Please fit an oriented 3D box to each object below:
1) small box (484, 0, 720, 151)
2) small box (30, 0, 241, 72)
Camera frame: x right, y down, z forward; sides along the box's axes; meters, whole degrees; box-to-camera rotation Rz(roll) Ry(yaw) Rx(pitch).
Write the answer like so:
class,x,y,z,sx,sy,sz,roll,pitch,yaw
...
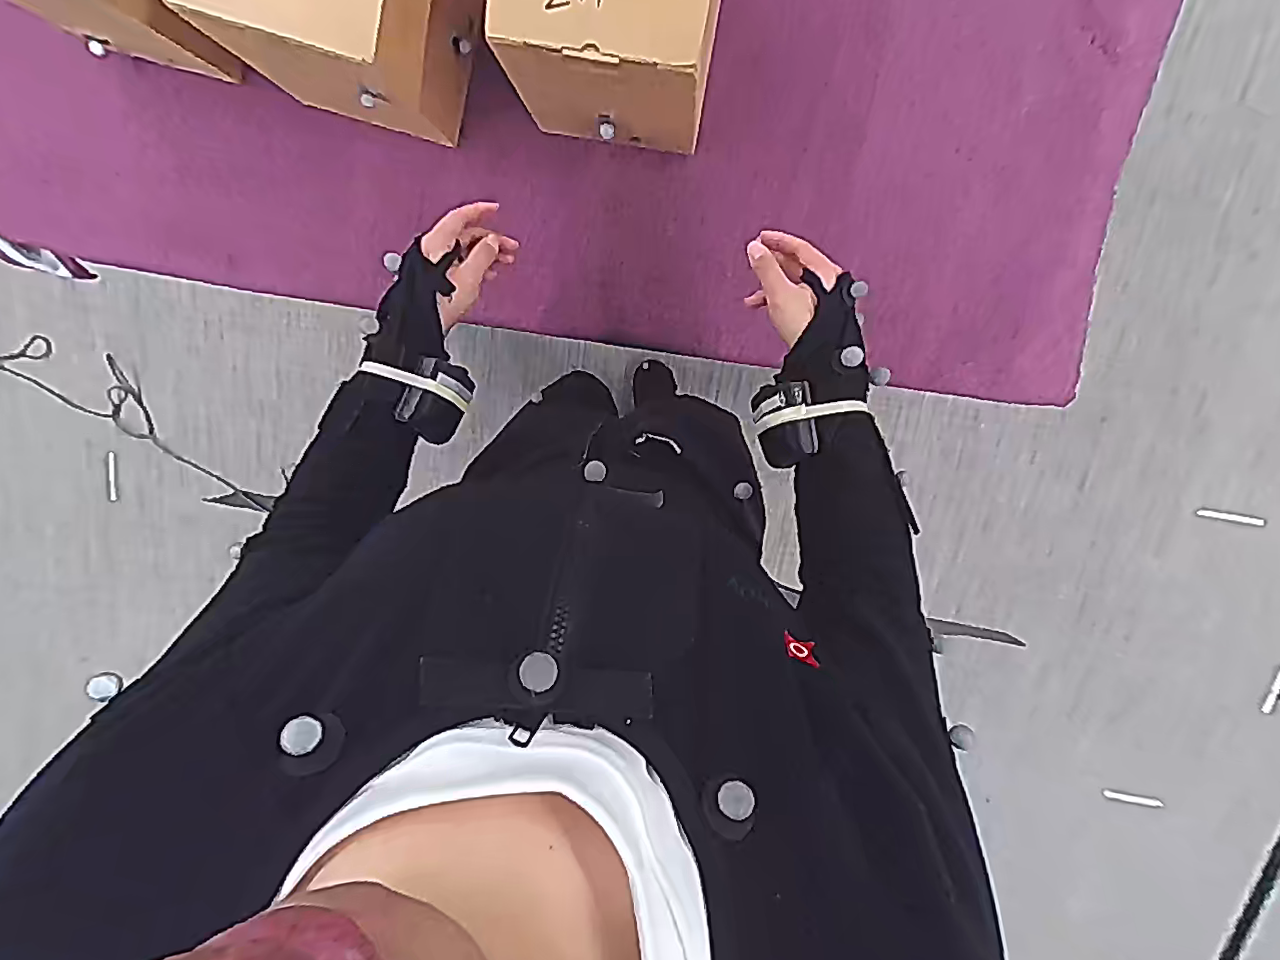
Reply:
class,x,y,z,sx,sy,sz,roll,pitch,yaw
small box,-0.017,-0.421,0.464,0.168,0.176,0.179,11,102,2
small box,-0.487,-0.510,0.477,0.168,0.176,0.179,15,103,0
